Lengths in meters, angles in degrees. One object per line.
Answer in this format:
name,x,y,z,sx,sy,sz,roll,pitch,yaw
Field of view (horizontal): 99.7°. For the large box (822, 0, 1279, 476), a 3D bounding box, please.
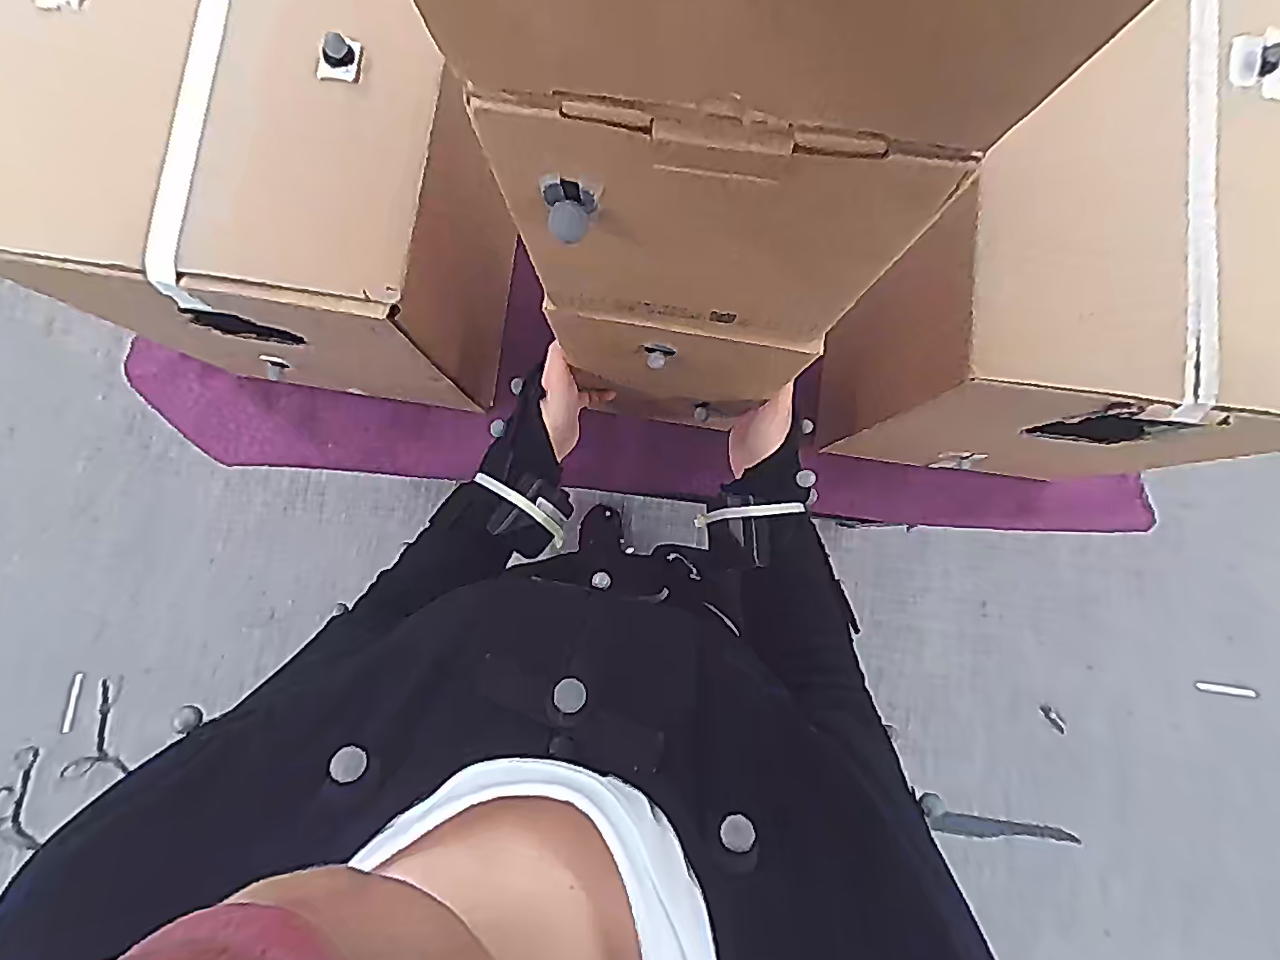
large box,0.394,-0.230,0.548,0.320,0.320,0.408,7,83,-2
